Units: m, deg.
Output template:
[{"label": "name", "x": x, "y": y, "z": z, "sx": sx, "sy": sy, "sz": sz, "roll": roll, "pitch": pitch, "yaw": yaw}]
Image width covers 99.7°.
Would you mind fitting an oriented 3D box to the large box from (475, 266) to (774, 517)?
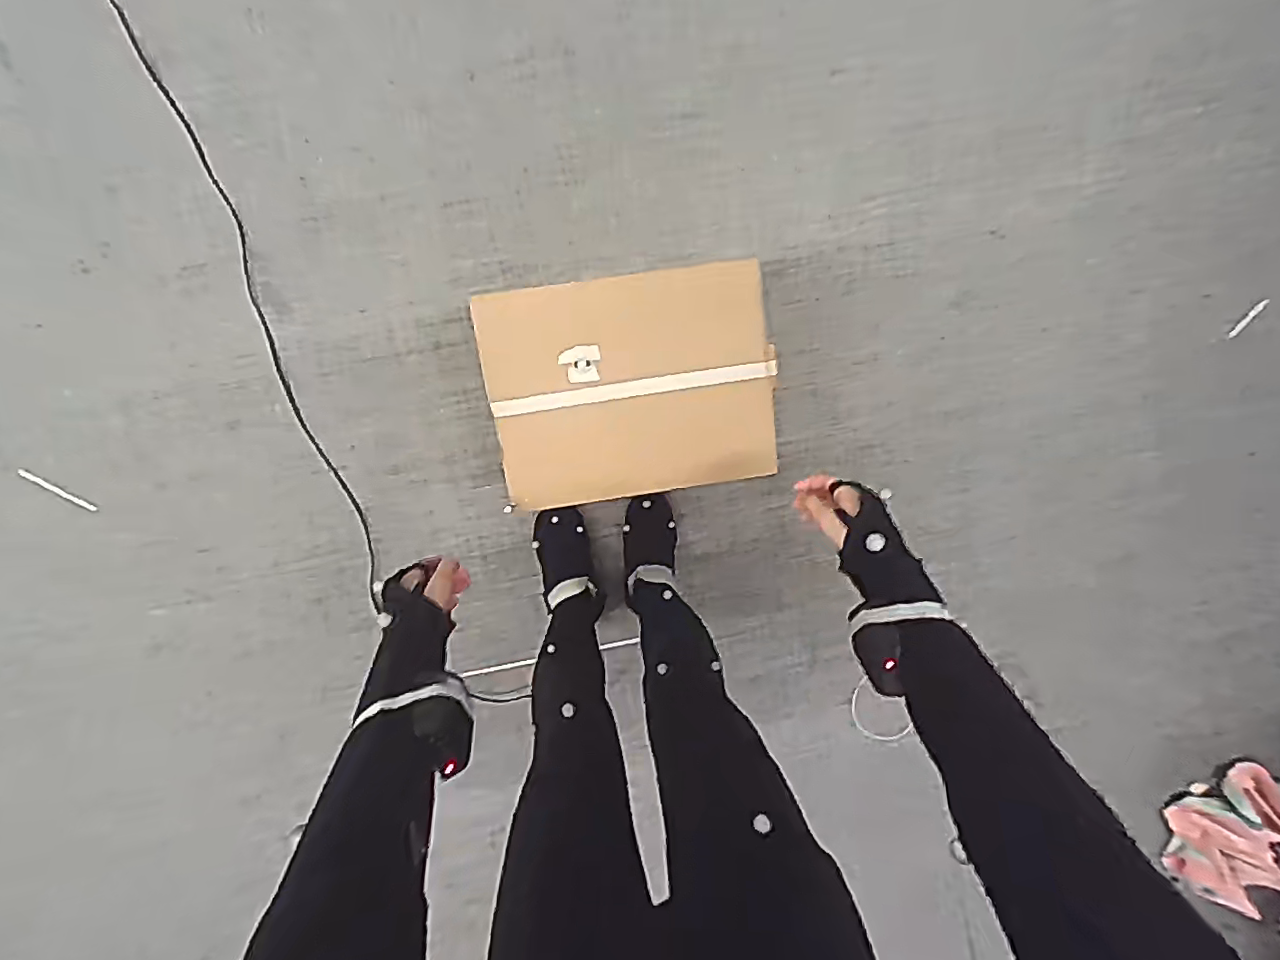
[{"label": "large box", "x": -0.020, "y": -0.156, "z": 0.932, "sx": 0.408, "sy": 0.320, "sz": 0.320, "roll": -9, "pitch": 102, "yaw": -2}]
